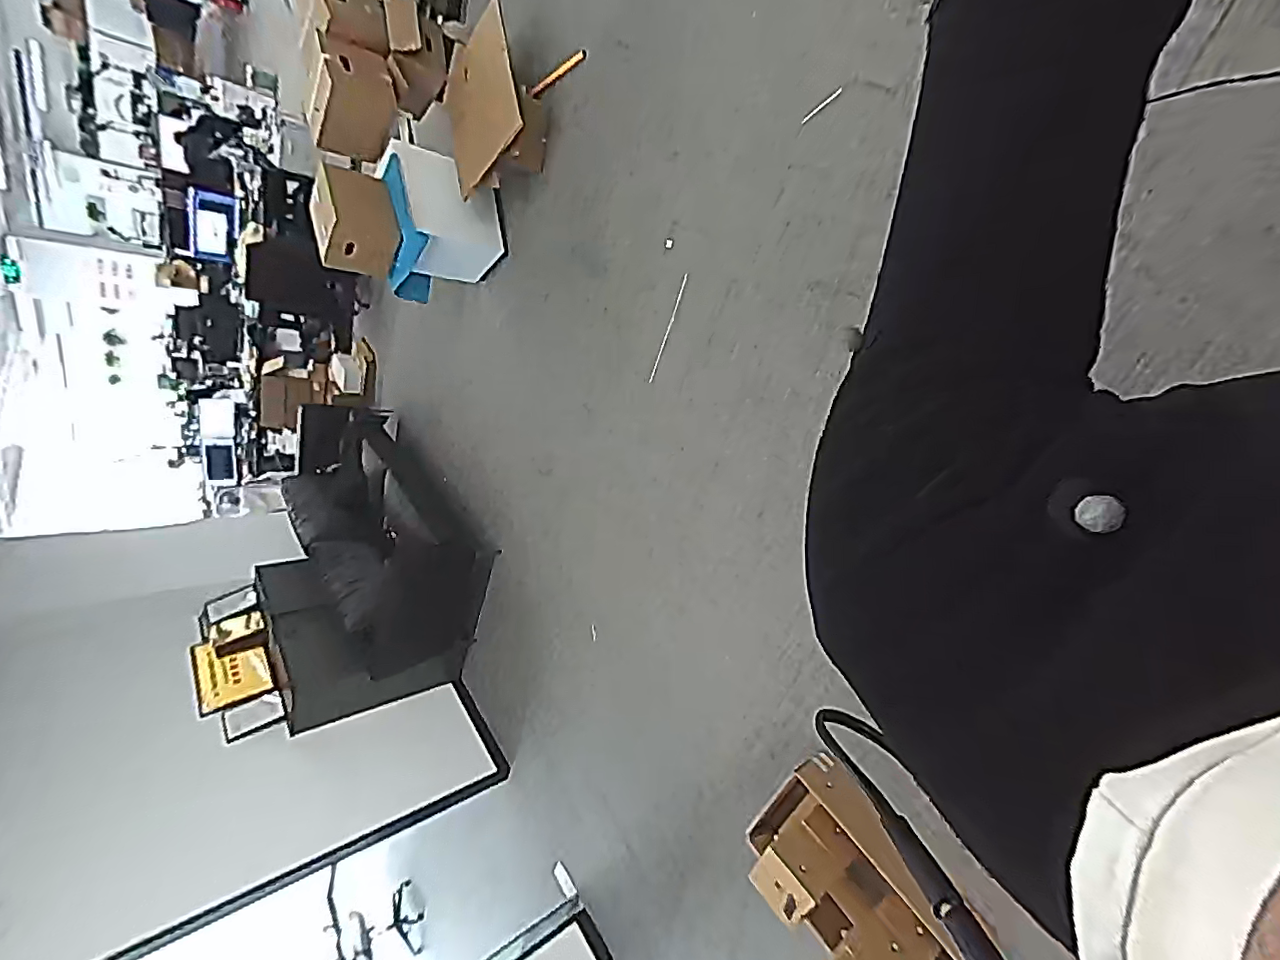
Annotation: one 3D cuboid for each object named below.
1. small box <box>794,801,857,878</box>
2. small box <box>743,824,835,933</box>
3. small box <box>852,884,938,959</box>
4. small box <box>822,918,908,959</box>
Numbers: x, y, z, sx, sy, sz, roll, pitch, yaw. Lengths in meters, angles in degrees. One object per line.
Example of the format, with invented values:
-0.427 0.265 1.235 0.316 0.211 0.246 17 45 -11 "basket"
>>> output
0.571 1.182 1.744 0.168 0.176 0.179 45 124 35 "small box"
0.451 1.192 1.630 0.179 0.176 0.168 40 120 37 "small box"
0.737 1.339 1.579 0.168 0.176 0.179 44 124 36 "small box"
0.616 1.344 1.468 0.179 0.176 0.168 43 124 37 "small box"
